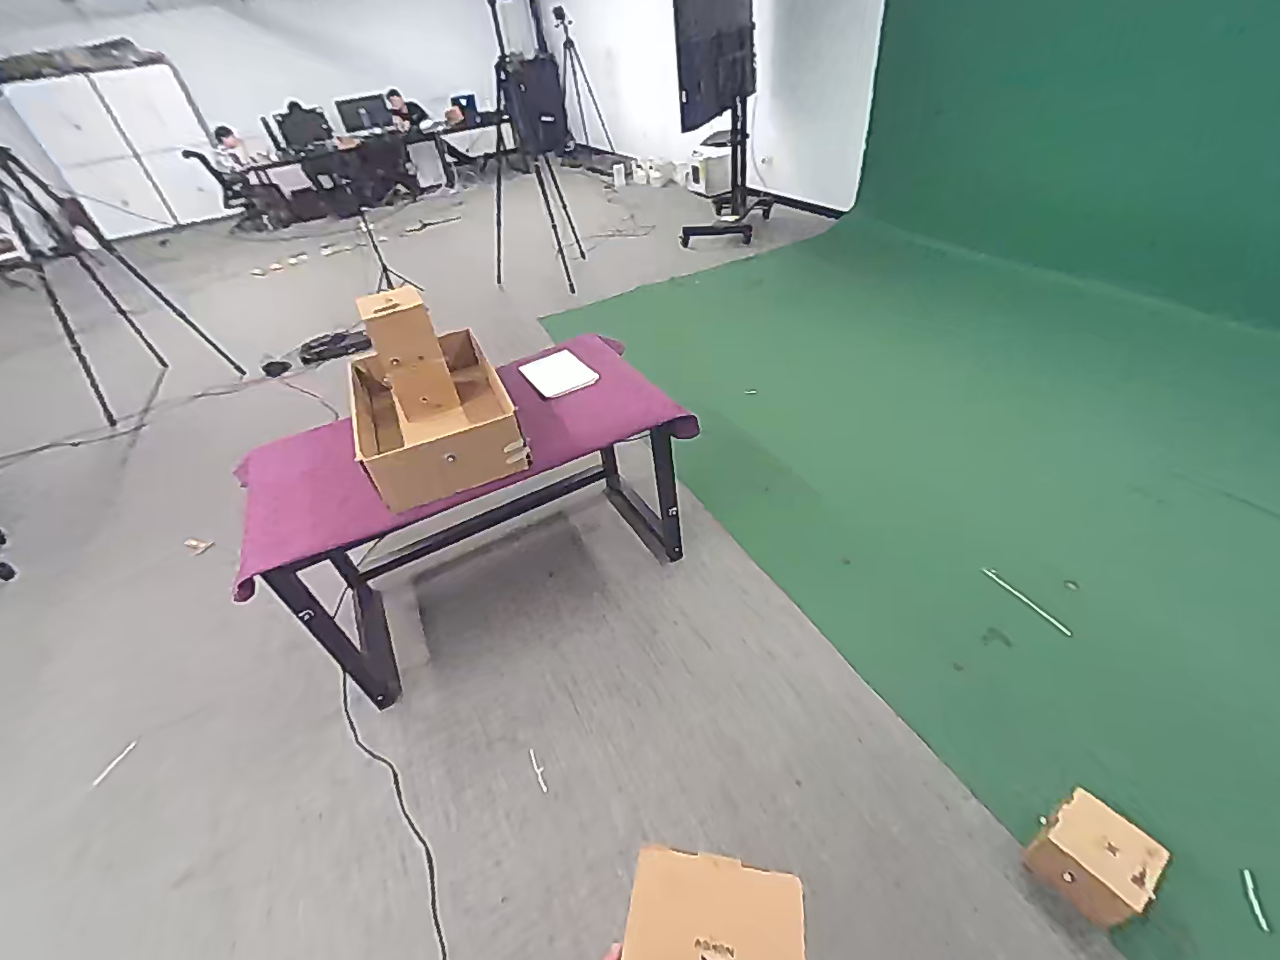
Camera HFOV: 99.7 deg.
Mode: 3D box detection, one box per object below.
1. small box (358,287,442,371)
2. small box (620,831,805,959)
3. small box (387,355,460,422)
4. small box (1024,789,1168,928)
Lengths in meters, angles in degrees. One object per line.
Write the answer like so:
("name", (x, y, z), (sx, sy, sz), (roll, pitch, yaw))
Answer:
("small box", (-0.694, -0.435, 1.572), (0.168, 0.176, 0.179), (-23, 43, -18))
("small box", (0.063, 0.491, 0.533), (0.168, 0.176, 0.179), (7, 38, 9))
("small box", (-0.675, -0.307, 1.674), (0.168, 0.176, 0.179), (-22, 44, -17))
("small box", (1.015, 0.853, 1.220), (0.168, 0.176, 0.179), (-30, 45, -24))
